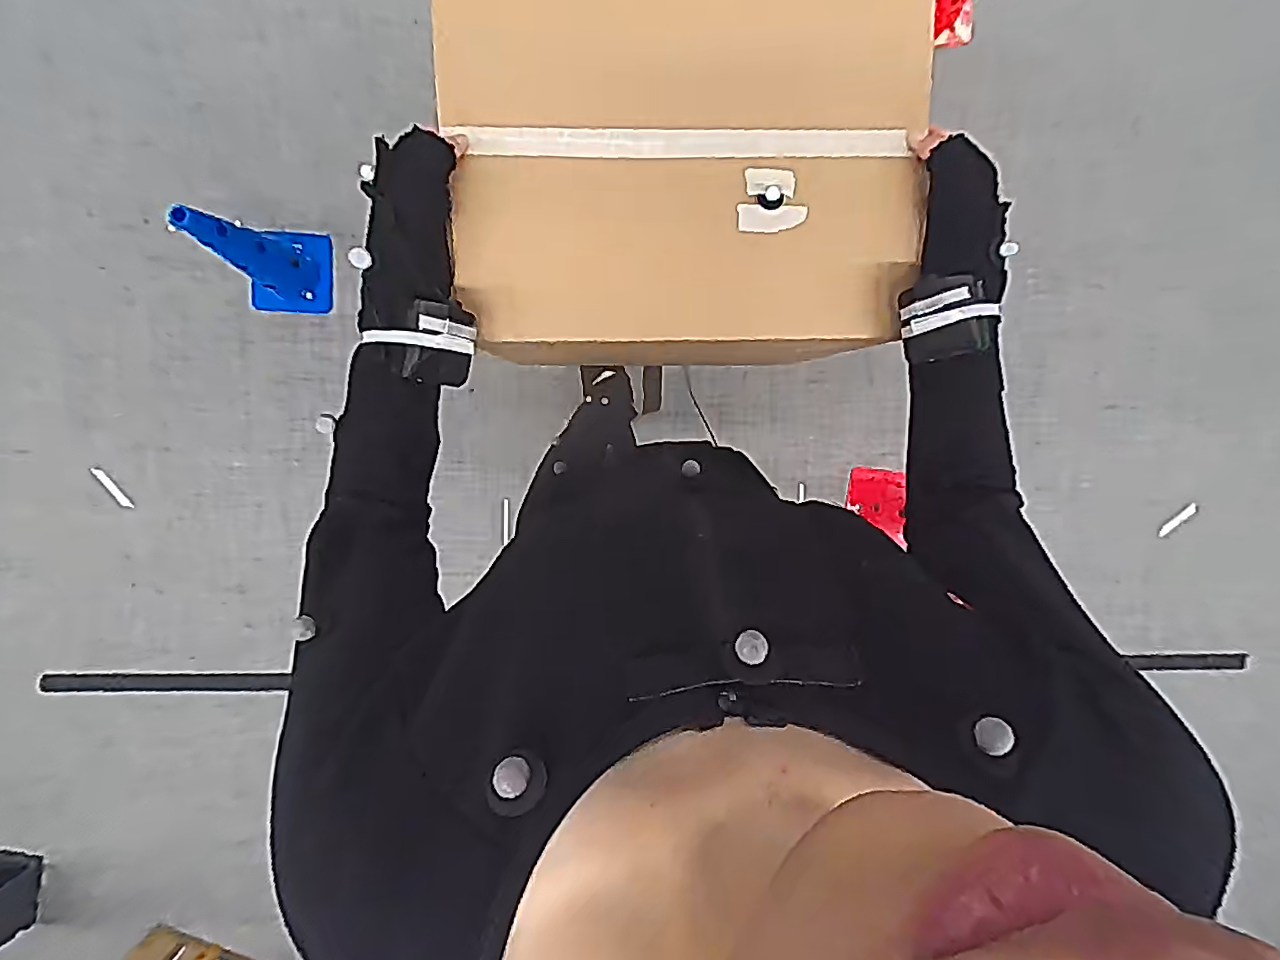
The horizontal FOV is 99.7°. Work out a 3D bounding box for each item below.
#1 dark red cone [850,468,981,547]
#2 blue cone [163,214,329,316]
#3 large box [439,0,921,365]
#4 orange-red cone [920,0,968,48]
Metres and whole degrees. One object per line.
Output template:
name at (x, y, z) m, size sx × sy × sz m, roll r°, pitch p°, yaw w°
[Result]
dark red cone at (0.673, 0.088, 1.288) m, size 0.201 × 0.394 × 0.202 m, roll 6°, pitch 94°, yaw -2°
blue cone at (-0.887, -0.505, 1.216) m, size 0.192 × 0.380 × 0.193 m, roll 4°, pitch 94°, yaw -2°
large box at (0.029, -0.303, 0.601) m, size 0.408 × 0.320 × 0.320 m, roll -2°, pitch 98°, yaw -4°
orange-red cone at (0.758, -1.208, 1.219) m, size 0.198 × 0.360 × 0.199 m, roll -2°, pitch 93°, yaw -3°
